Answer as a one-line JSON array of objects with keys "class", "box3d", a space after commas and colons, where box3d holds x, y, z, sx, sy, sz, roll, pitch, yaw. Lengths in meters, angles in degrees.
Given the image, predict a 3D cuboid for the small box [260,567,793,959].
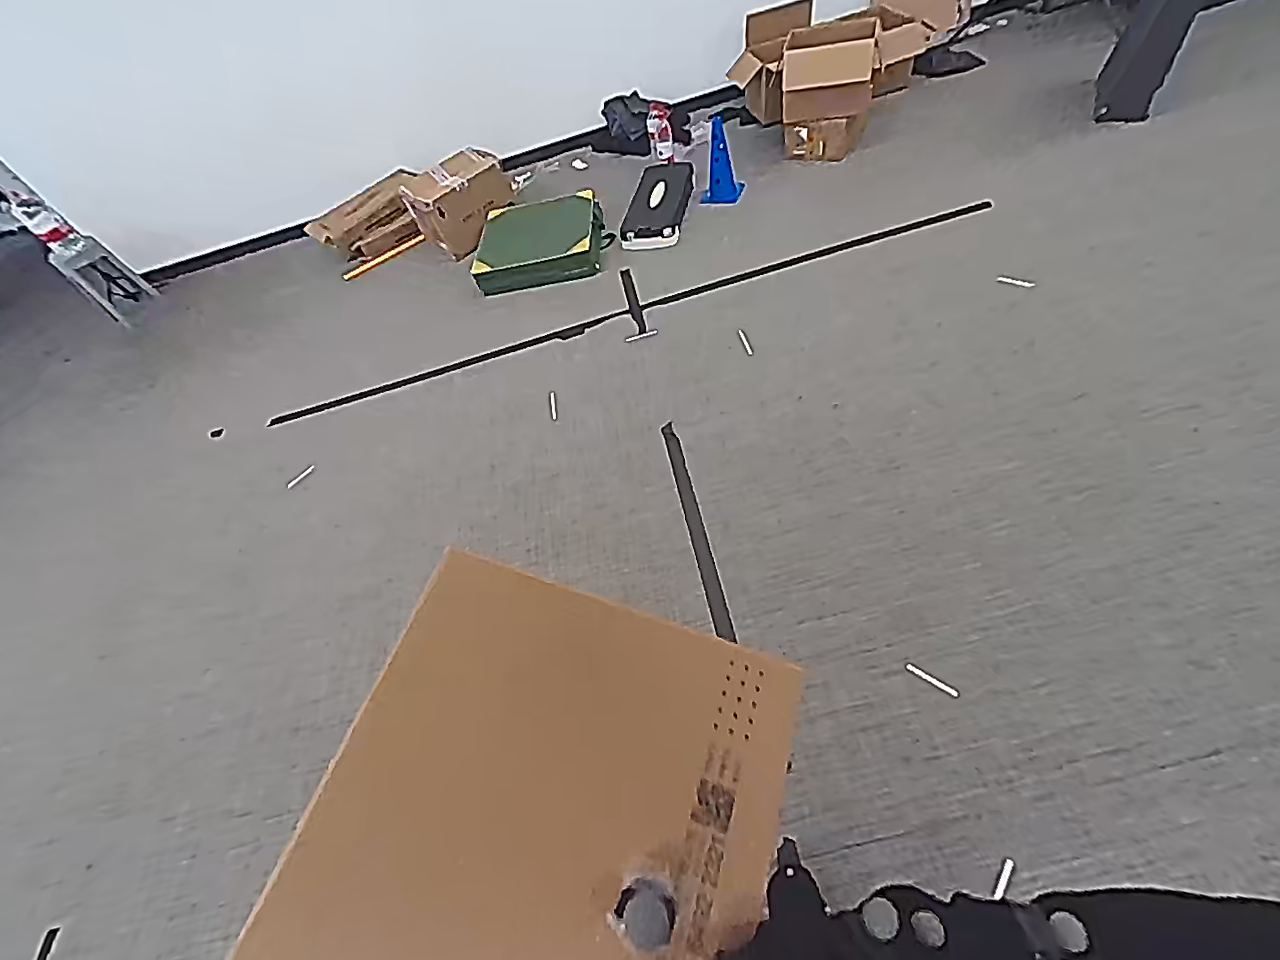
[{"class": "small box", "box3d": [-0.035, 0.171, 0.290, 0.176, 0.179, 0.168, 18, 64, 6]}]
